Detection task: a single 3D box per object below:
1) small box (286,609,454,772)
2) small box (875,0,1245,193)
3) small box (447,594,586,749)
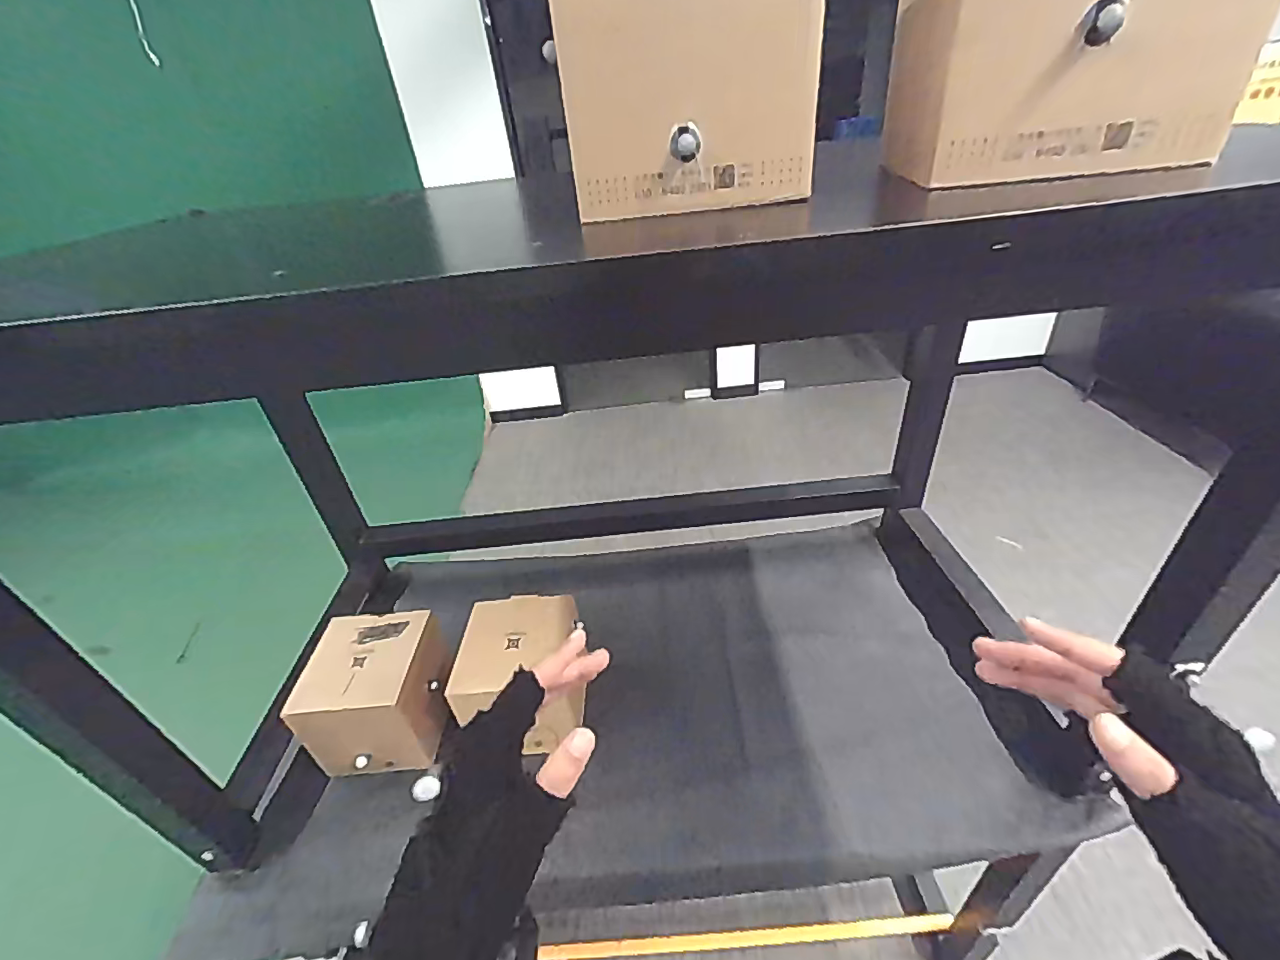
[{"bbox_3d":[-0.409,0.332,0.862,0.168,0.176,0.179,-5,34,1],"label":"small box"},{"bbox_3d":[0.278,-0.309,0.385,0.168,0.176,0.179,1,34,11],"label":"small box"},{"bbox_3d":[-0.182,0.309,0.864,0.168,0.176,0.179,-5,33,2],"label":"small box"}]
